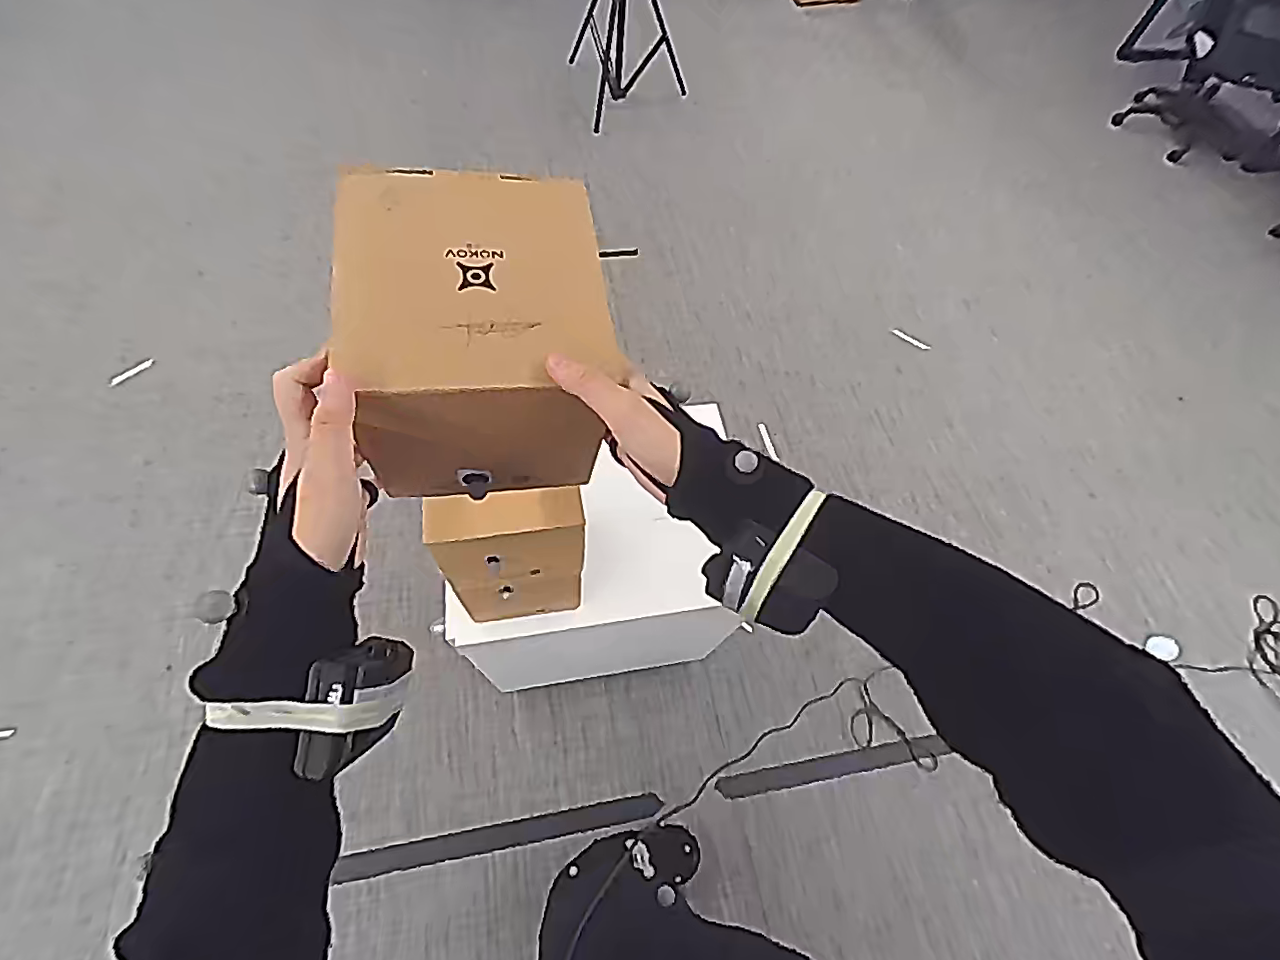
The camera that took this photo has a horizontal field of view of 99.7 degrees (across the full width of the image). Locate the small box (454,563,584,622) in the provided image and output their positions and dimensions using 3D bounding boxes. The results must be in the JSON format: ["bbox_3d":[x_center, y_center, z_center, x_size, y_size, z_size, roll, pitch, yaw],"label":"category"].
[{"bbox_3d":[-0.176,0.094,0.800,0.168,0.176,0.179,-6,62,-10],"label":"small box"}]

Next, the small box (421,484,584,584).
[{"bbox_3d":[-0.159,0.018,0.656,0.168,0.176,0.179,-7,62,-10],"label":"small box"}]

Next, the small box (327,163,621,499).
[{"bbox_3d":[-0.120,-0.099,0.412,0.168,0.176,0.179,-4,69,-15],"label":"small box"}]
